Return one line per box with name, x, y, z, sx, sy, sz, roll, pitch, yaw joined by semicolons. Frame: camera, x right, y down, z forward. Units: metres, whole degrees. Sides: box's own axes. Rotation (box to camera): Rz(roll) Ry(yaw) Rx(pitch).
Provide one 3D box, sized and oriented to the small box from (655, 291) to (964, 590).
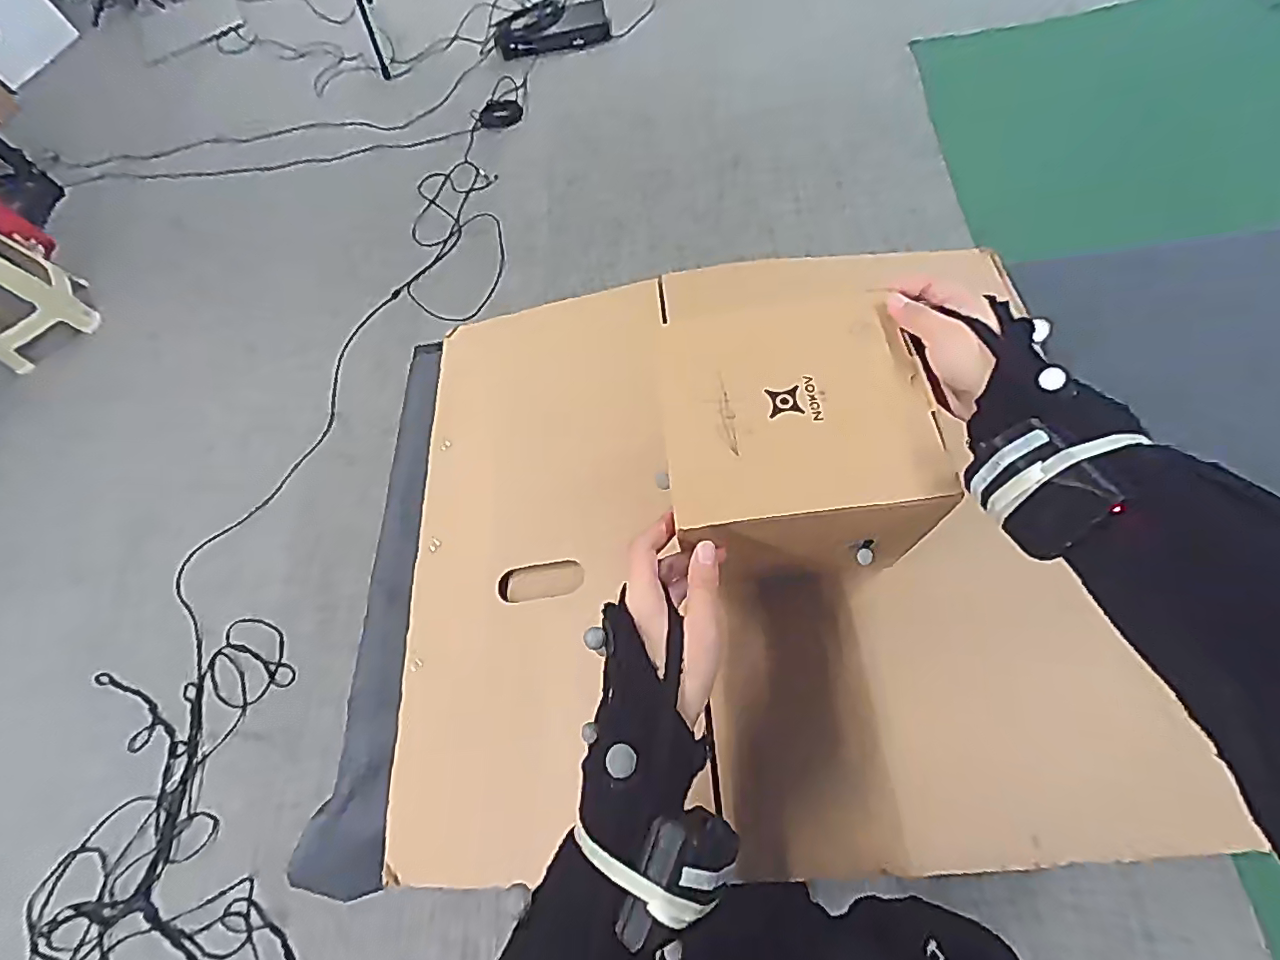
small box;0.114;-0.018;0.434;0.179;0.176;0.168;-9;64;6
